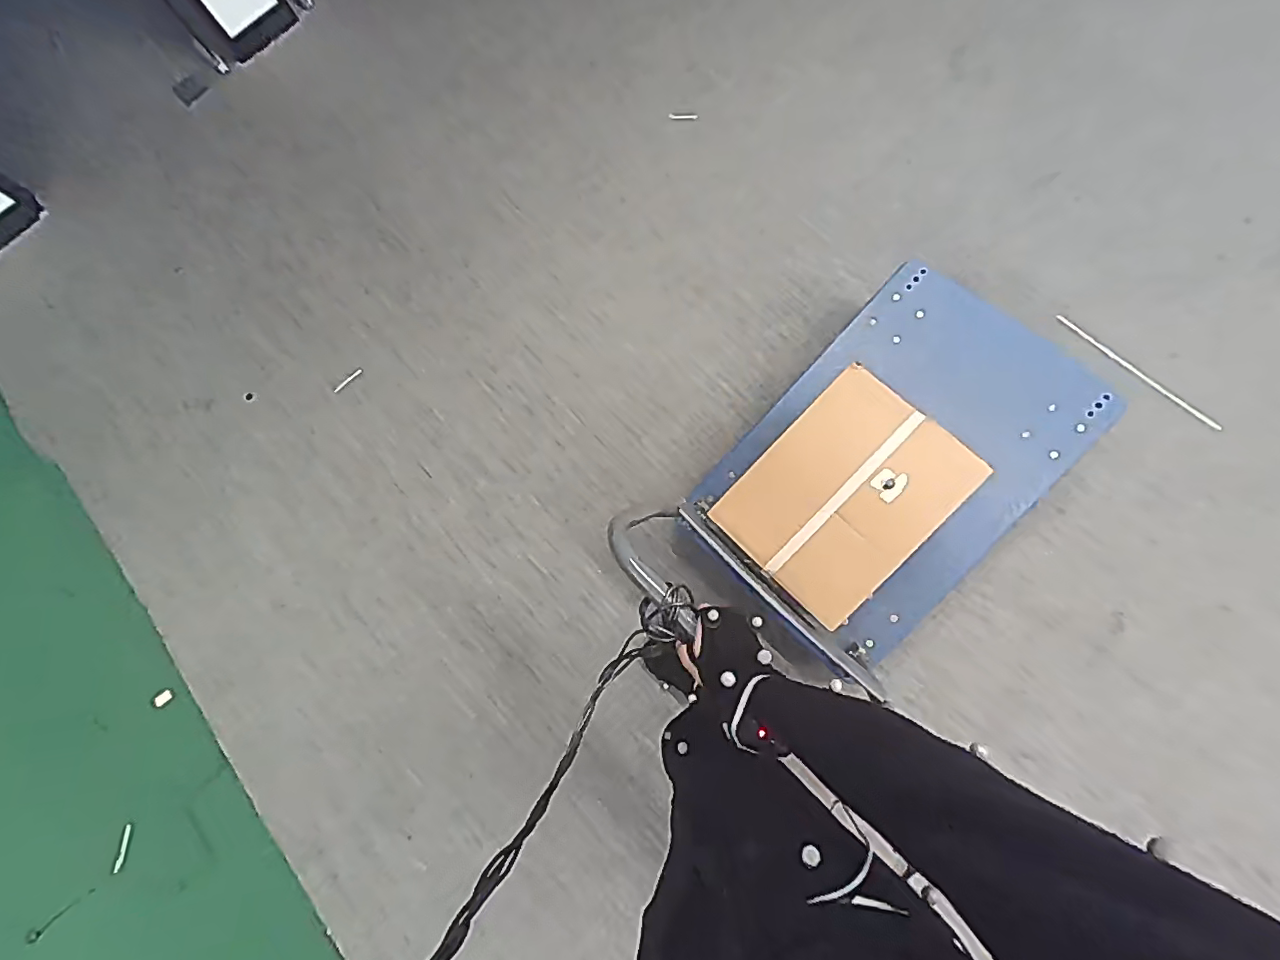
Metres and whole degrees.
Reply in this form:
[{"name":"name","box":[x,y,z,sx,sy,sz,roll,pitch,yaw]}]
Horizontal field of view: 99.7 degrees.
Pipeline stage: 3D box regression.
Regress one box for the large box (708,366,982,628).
[{"name":"large box","box":[0.398,0.047,1.143,0.408,0.320,0.320,-46,76,3]}]
